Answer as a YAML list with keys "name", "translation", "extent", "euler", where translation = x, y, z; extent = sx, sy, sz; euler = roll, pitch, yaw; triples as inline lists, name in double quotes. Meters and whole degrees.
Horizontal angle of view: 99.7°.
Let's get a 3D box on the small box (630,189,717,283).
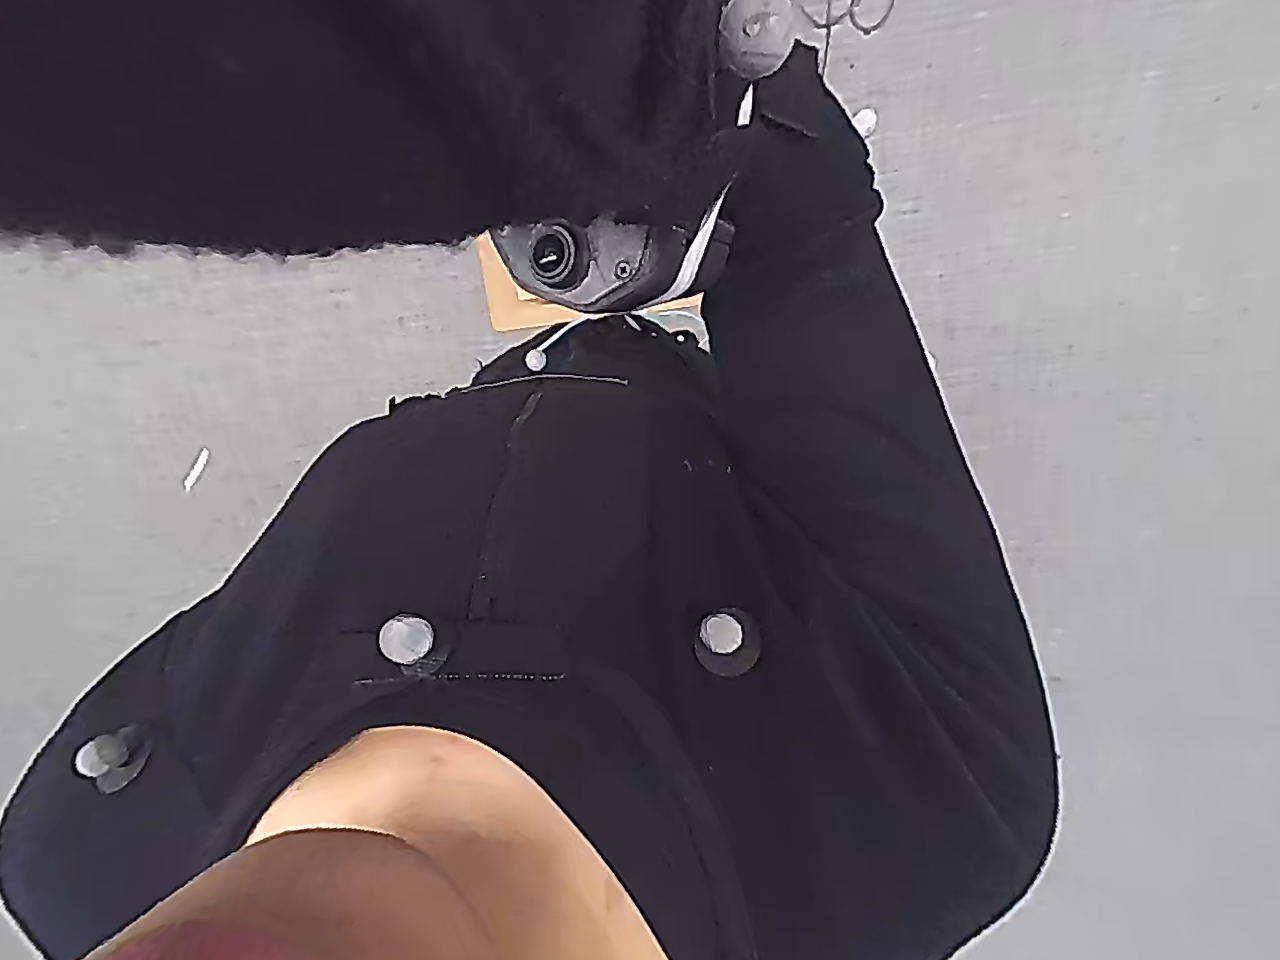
- name: "small box"
  translation: [0.080, -0.547, 1.231]
  extent: [0.179, 0.176, 0.168]
  euler: [-4, 106, 8]
